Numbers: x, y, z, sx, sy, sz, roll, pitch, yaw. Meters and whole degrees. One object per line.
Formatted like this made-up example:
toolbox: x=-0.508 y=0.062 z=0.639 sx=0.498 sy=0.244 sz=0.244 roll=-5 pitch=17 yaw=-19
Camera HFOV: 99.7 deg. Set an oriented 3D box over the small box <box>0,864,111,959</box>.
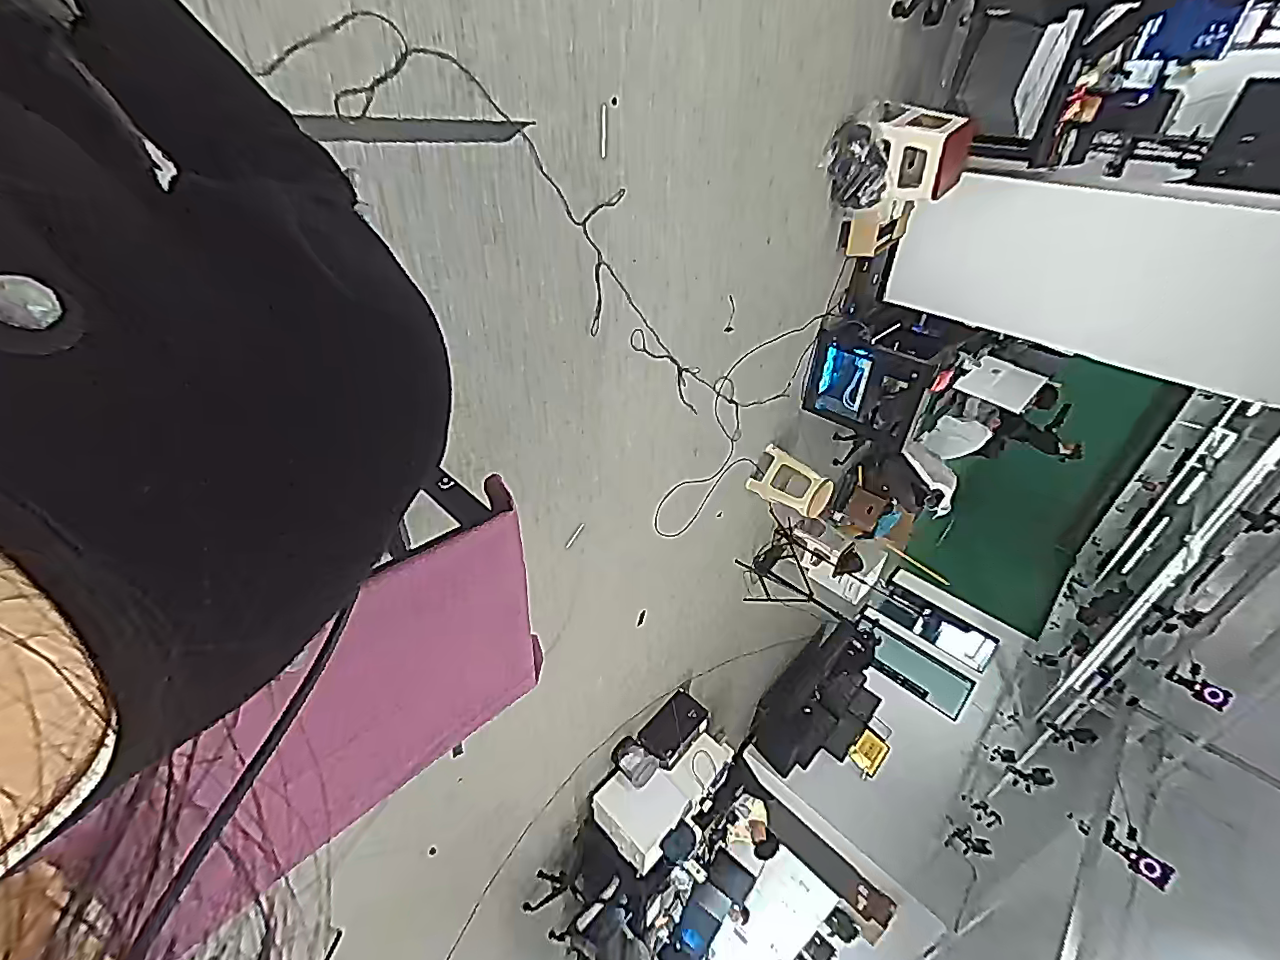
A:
small box: x=-0.825 y=0.658 z=0.695 sx=0.179 sy=0.176 sz=0.168 roll=-29 pitch=137 yaw=-39
